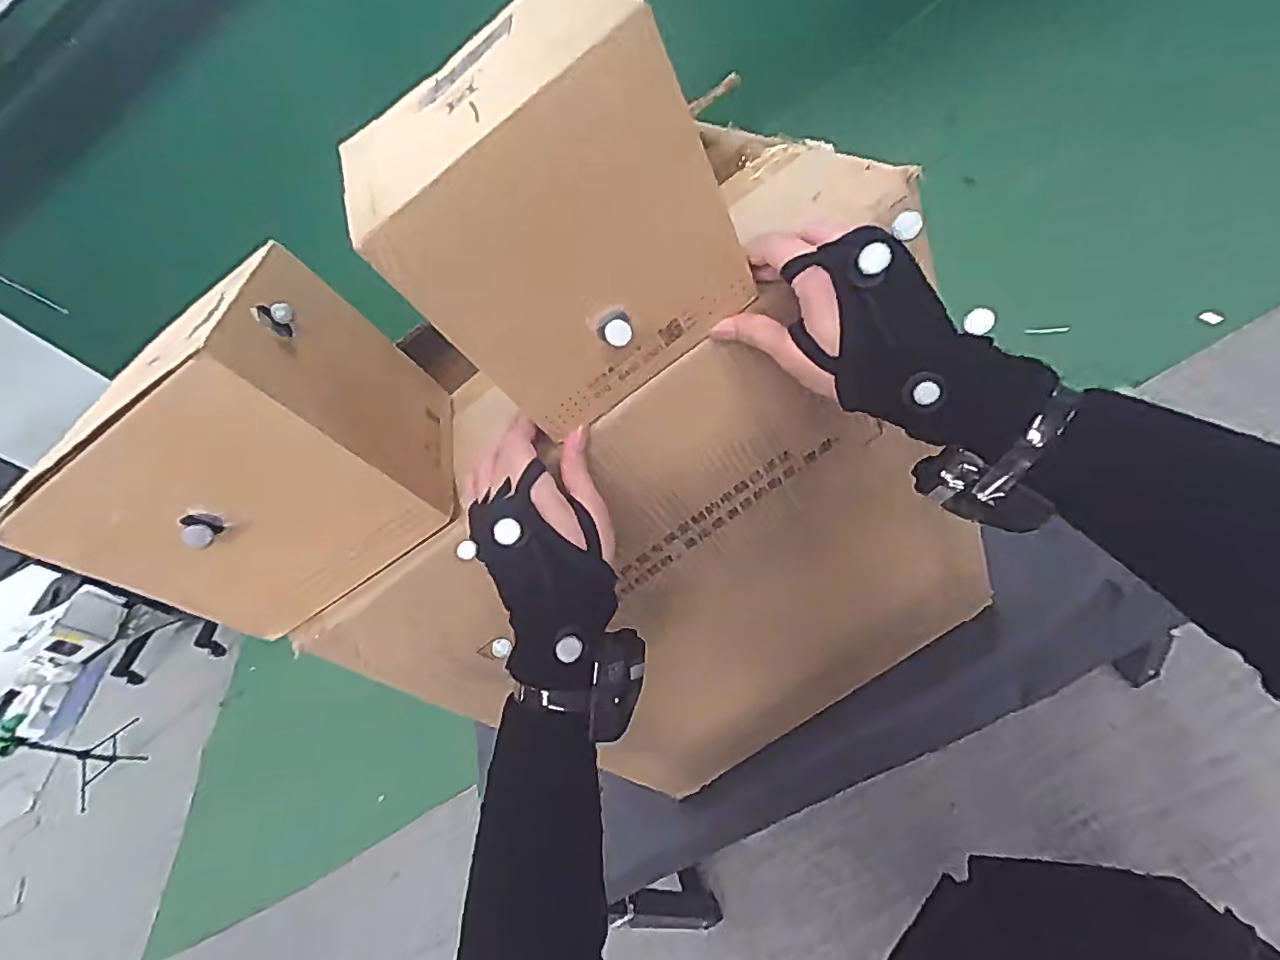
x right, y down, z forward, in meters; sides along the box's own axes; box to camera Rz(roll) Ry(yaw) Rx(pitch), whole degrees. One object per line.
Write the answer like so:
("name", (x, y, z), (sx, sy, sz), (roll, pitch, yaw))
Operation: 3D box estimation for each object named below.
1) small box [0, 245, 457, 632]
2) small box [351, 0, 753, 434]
("small box", (-0.256, -0.021, 0.384), (0.179, 0.176, 0.168), (-34, 43, 10))
("small box", (-0.055, -0.163, 0.350), (0.168, 0.176, 0.179), (-36, 48, 6))
